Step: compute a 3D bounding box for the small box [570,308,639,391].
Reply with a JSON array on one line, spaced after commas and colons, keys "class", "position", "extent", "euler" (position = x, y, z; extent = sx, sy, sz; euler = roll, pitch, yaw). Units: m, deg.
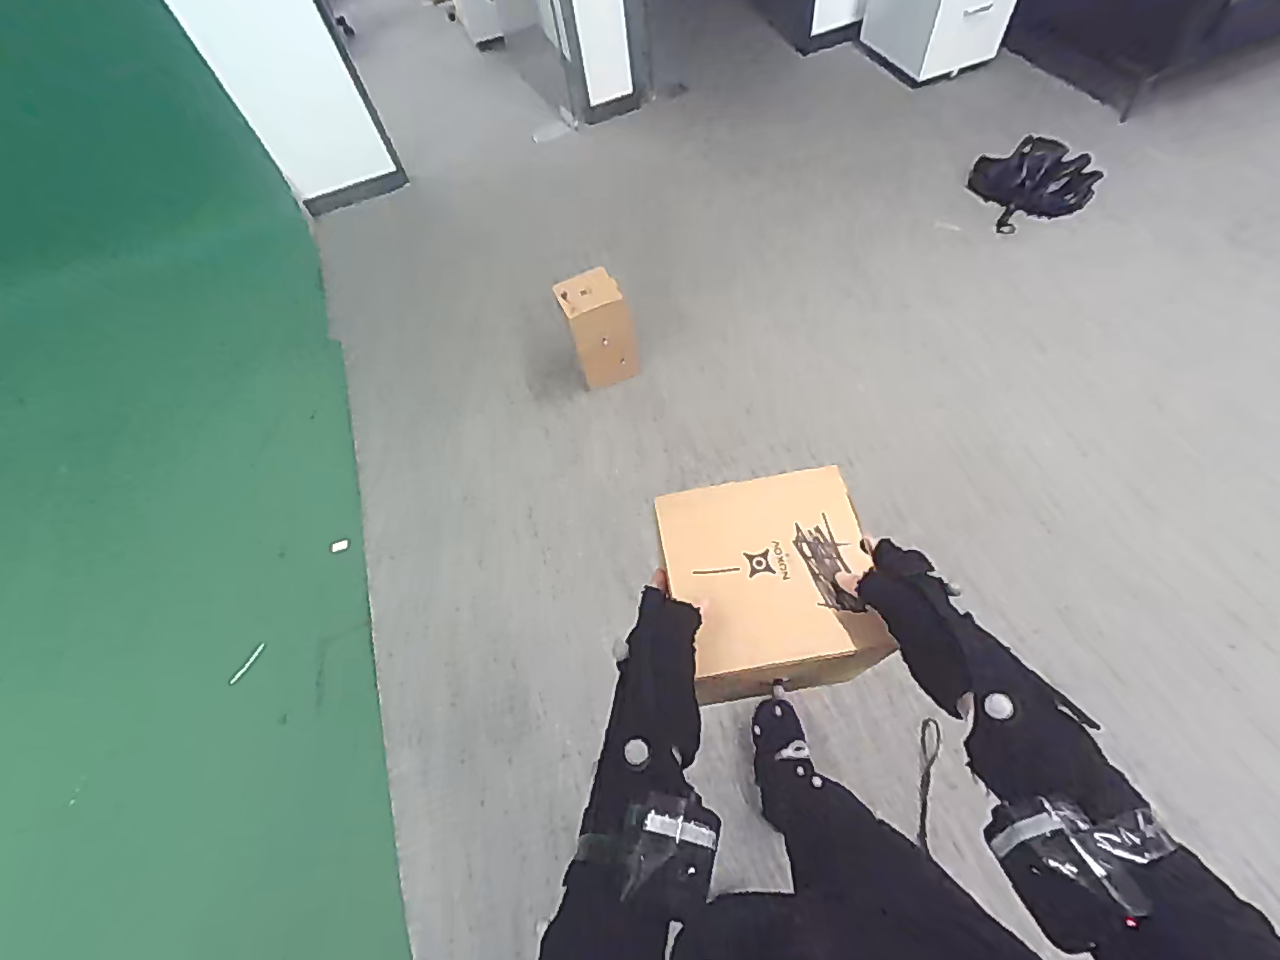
[{"class": "small box", "position": [-0.112, -0.432, 1.803], "extent": [0.179, 0.176, 0.168], "euler": [-23, 58, -4]}]

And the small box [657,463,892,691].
[{"class": "small box", "position": [0.113, 0.102, 0.535], "extent": [0.179, 0.176, 0.168], "euler": [-7, 58, 1]}]
